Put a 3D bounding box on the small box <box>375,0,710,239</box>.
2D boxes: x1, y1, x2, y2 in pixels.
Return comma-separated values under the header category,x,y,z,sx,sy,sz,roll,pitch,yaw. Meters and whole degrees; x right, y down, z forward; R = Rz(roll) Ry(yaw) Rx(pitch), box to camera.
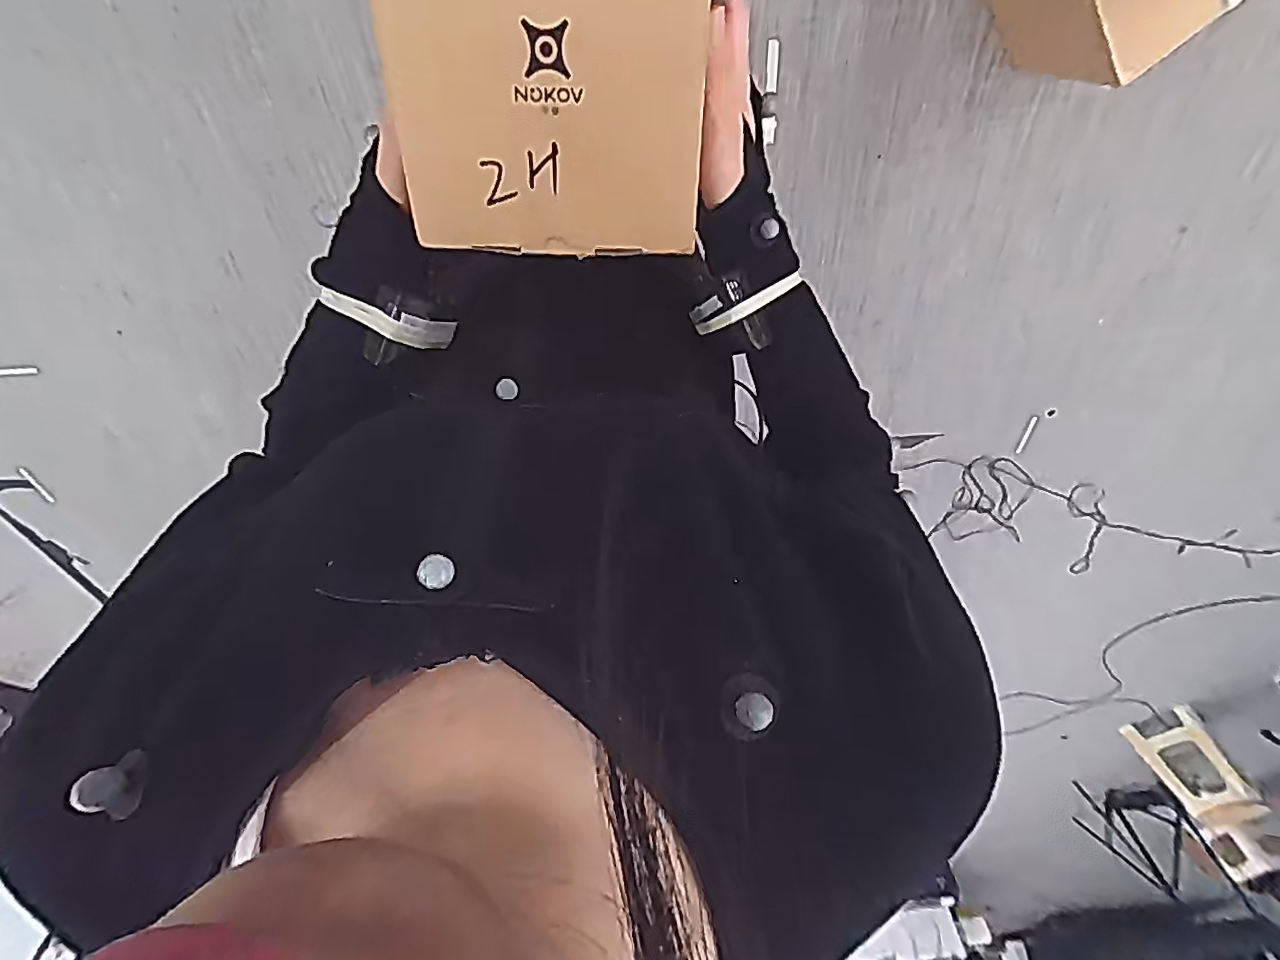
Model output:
category,x,y,z,sx,sy,sz,roll,pitch,yaw
small box,-0.049,-0.259,0.341,0.168,0.176,0.179,1,123,-1
